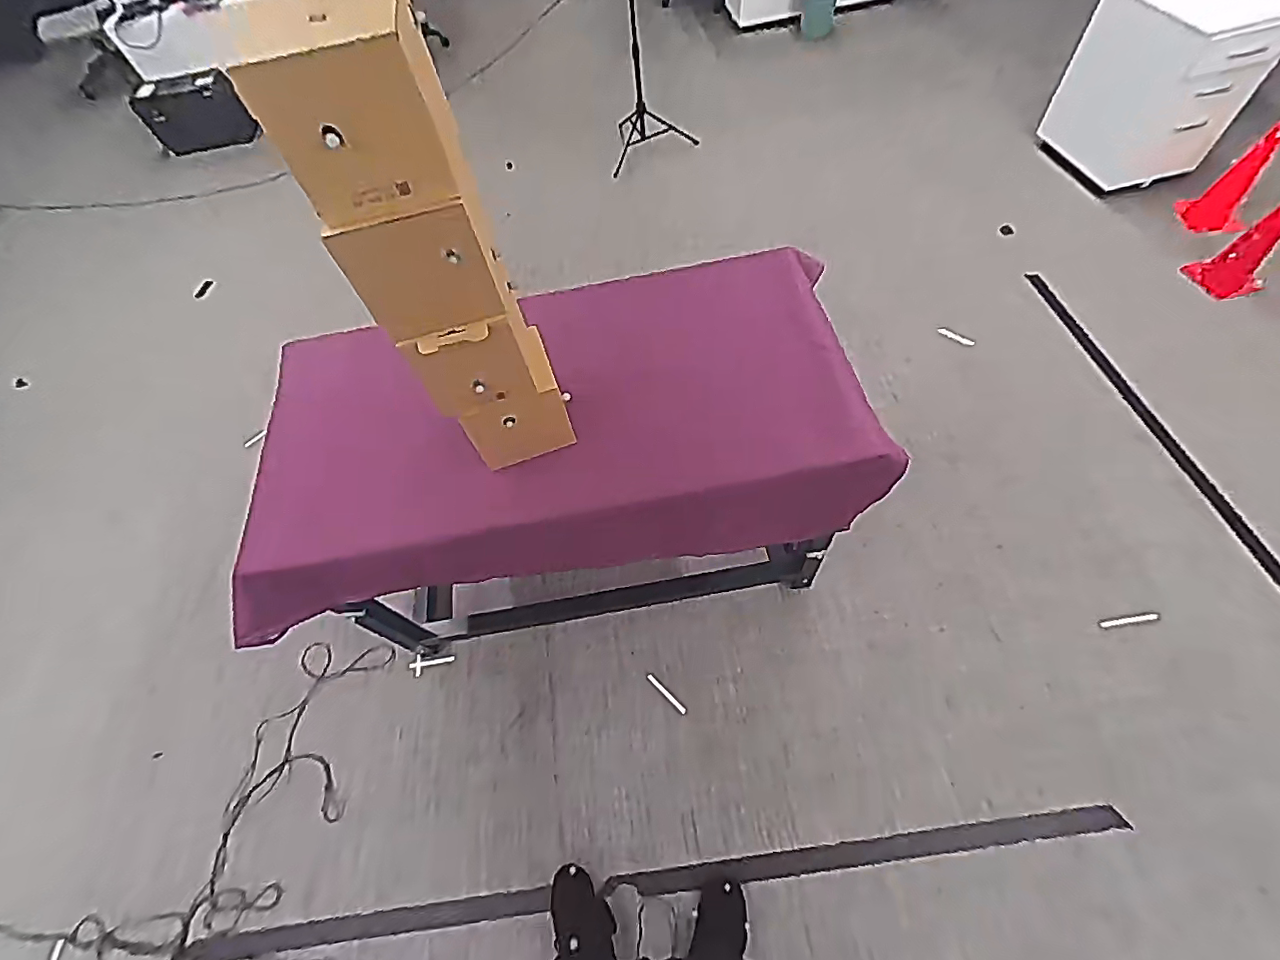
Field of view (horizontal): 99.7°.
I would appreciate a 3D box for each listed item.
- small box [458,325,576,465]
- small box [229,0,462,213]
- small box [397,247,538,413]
[{"bbox_3d":[-0.236,-0.153,1.016,0.179,0.176,0.168,-19,59,-5],"label":"small box"},{"bbox_3d":[-0.313,-0.429,0.615,0.168,0.176,0.179,-14,57,-1],"label":"small box"},{"bbox_3d":[-0.275,-0.239,0.879,0.168,0.176,0.179,-15,58,-1],"label":"small box"}]
